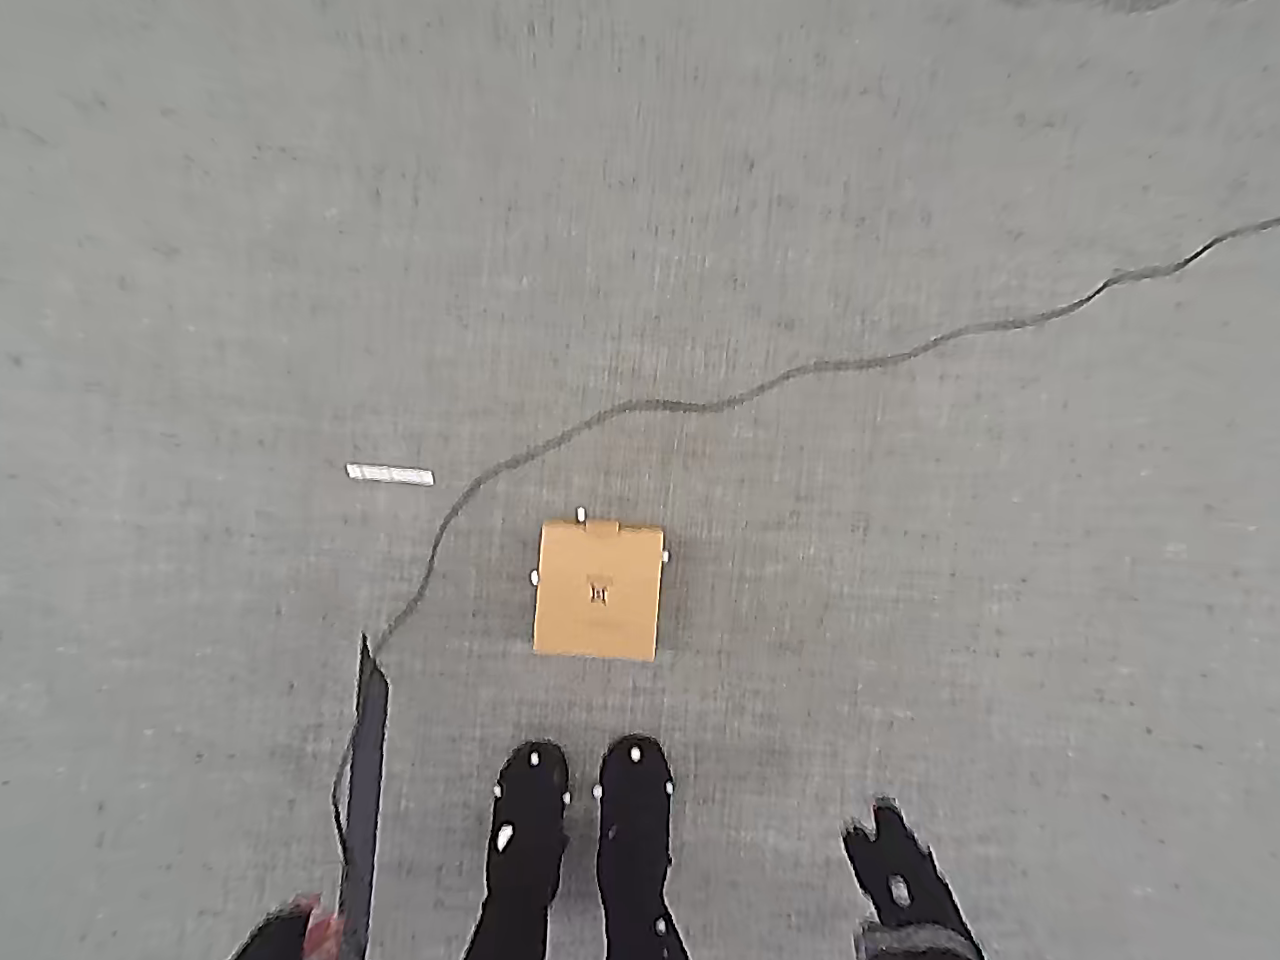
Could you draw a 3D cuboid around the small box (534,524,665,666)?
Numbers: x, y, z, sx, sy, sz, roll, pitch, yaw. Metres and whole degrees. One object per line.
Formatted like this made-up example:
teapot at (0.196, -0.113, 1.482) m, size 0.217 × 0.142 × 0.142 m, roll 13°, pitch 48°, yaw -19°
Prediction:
small box at (-0.057, 0.161, 0.811) m, size 0.168 × 0.176 × 0.179 m, roll 5°, pitch 89°, yaw -1°
